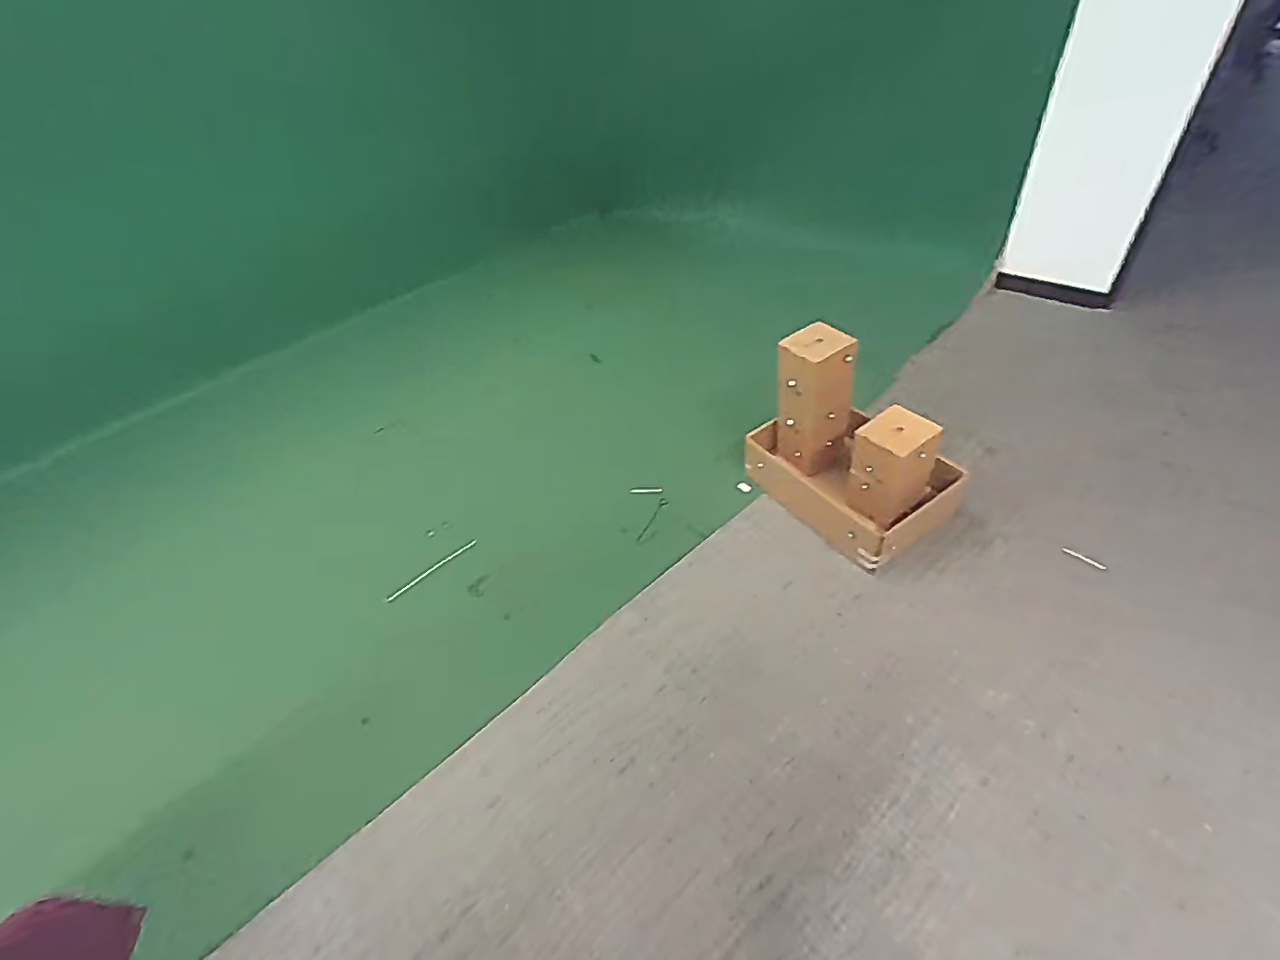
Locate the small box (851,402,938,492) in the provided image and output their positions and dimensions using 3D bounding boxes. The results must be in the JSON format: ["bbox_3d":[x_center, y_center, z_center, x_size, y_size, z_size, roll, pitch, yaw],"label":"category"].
[{"bbox_3d":[0.760,-0.099,1.638,0.179,0.176,0.168,-33,47,-16],"label":"small box"}]

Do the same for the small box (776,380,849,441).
[{"bbox_3d":[0.581,-0.268,1.850,0.179,0.176,0.168,-29,48,-13],"label":"small box"}]

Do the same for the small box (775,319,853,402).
[{"bbox_3d":[0.550,-0.382,1.735,0.179,0.176,0.168,-30,48,-15],"label":"small box"}]
